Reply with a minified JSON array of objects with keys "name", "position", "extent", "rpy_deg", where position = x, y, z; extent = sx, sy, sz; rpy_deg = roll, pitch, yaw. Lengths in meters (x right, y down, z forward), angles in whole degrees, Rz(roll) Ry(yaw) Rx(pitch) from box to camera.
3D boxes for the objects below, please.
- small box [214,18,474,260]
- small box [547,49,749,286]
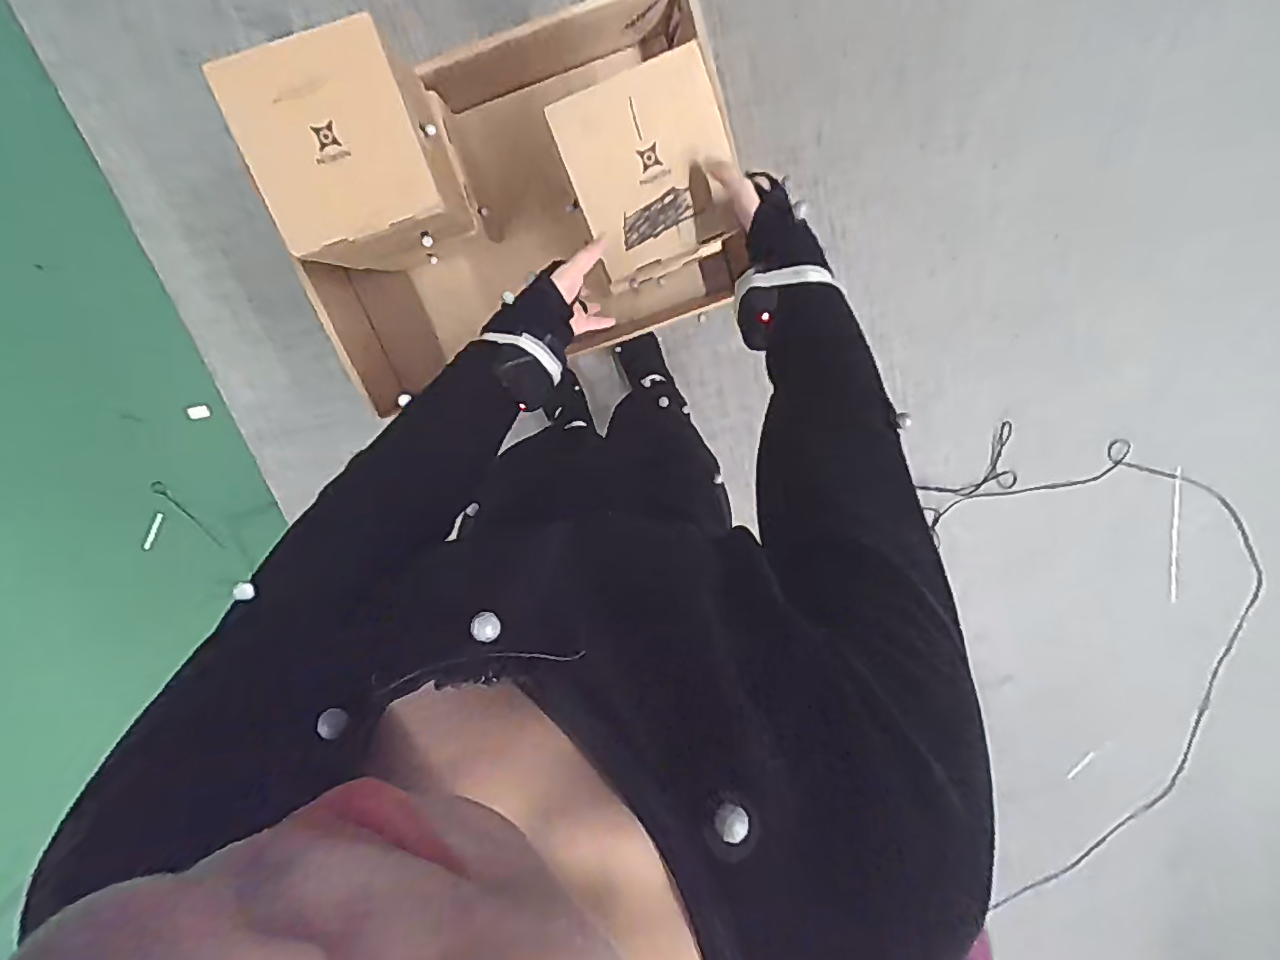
[{"name":"small box","position":[-0.304,-0.355,0.604],"extent":[0.168,0.176,0.179],"rpy_deg":[-16,108,0]},{"name":"small box","position":[0.008,-0.342,0.632],"extent":[0.168,0.176,0.179],"rpy_deg":[-22,108,3]}]
